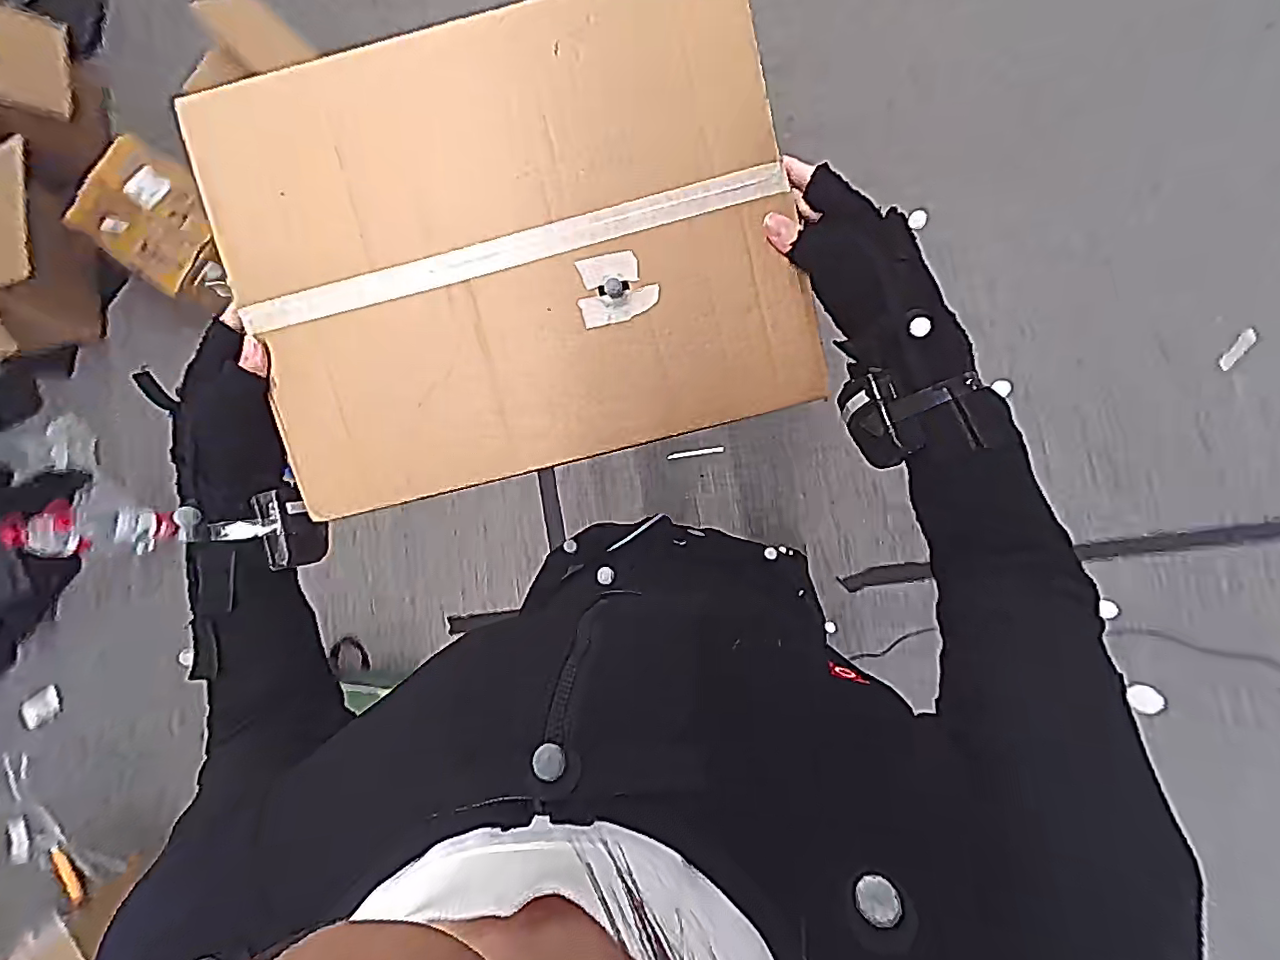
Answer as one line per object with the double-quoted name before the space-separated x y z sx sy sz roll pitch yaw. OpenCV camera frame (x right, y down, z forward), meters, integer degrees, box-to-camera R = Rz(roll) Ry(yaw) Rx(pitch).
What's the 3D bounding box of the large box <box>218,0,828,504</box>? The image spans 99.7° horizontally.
"large box" -0.083 -0.189 0.550 0.408 0.320 0.320 -13 97 2
